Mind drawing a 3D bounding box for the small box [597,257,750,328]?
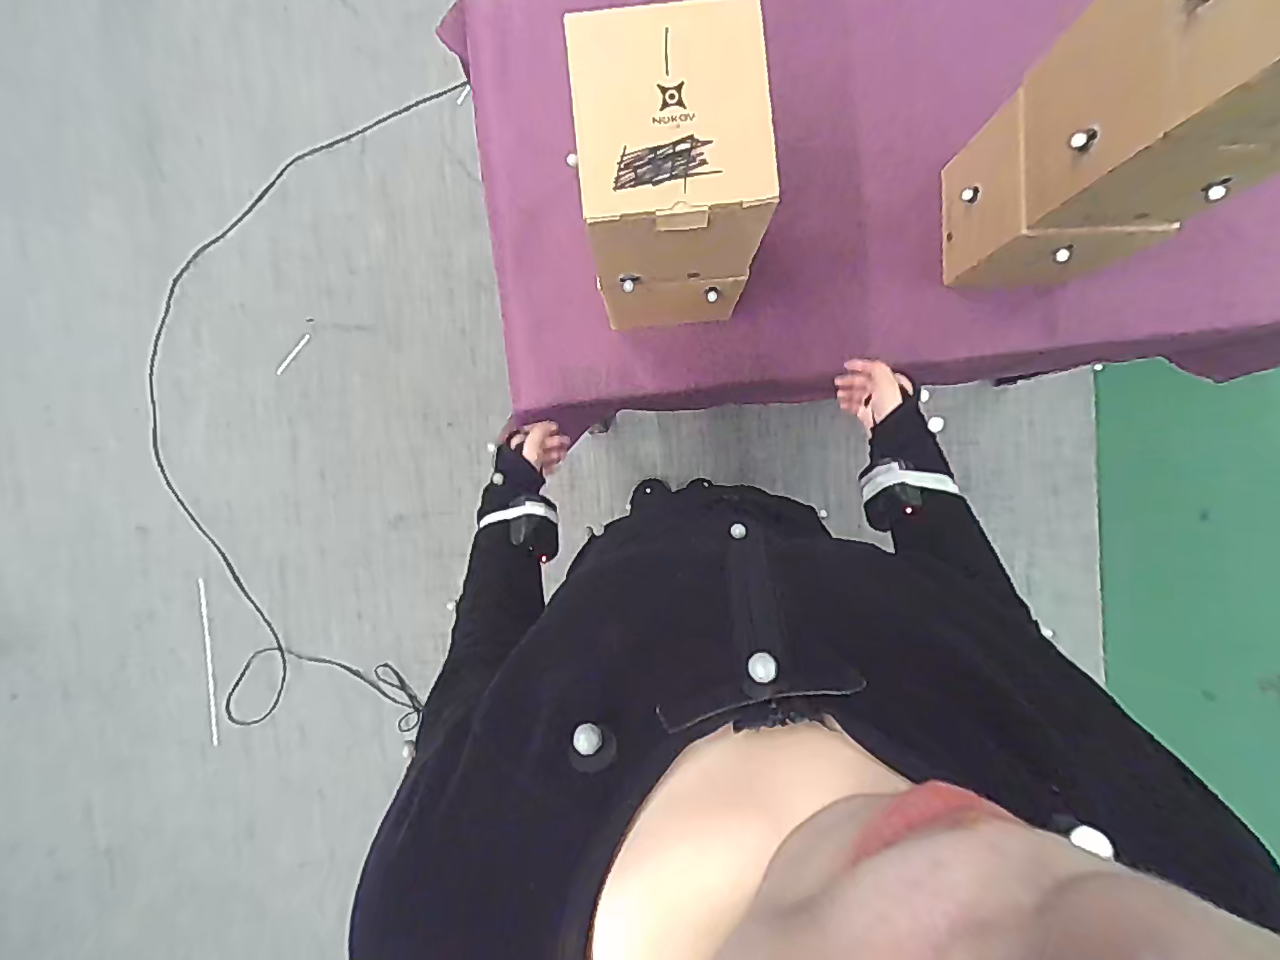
[{"bbox_3d":[0.038,-0.305,0.699,0.179,0.176,0.168,-5,90,3],"label":"small box"}]

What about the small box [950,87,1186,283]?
[{"bbox_3d":[0.512,-0.354,0.673,0.179,0.176,0.168,0,91,3],"label":"small box"}]

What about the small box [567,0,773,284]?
[{"bbox_3d":[0.029,-0.308,0.535,0.168,0.176,0.179,-5,89,2],"label":"small box"}]

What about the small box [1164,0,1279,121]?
[{"bbox_3d":[0.492,-0.362,0.346,0.168,0.176,0.179,-2,91,2],"label":"small box"}]

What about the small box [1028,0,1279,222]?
[{"bbox_3d":[0.503,-0.362,0.510,0.168,0.176,0.179,-1,90,2],"label":"small box"}]
